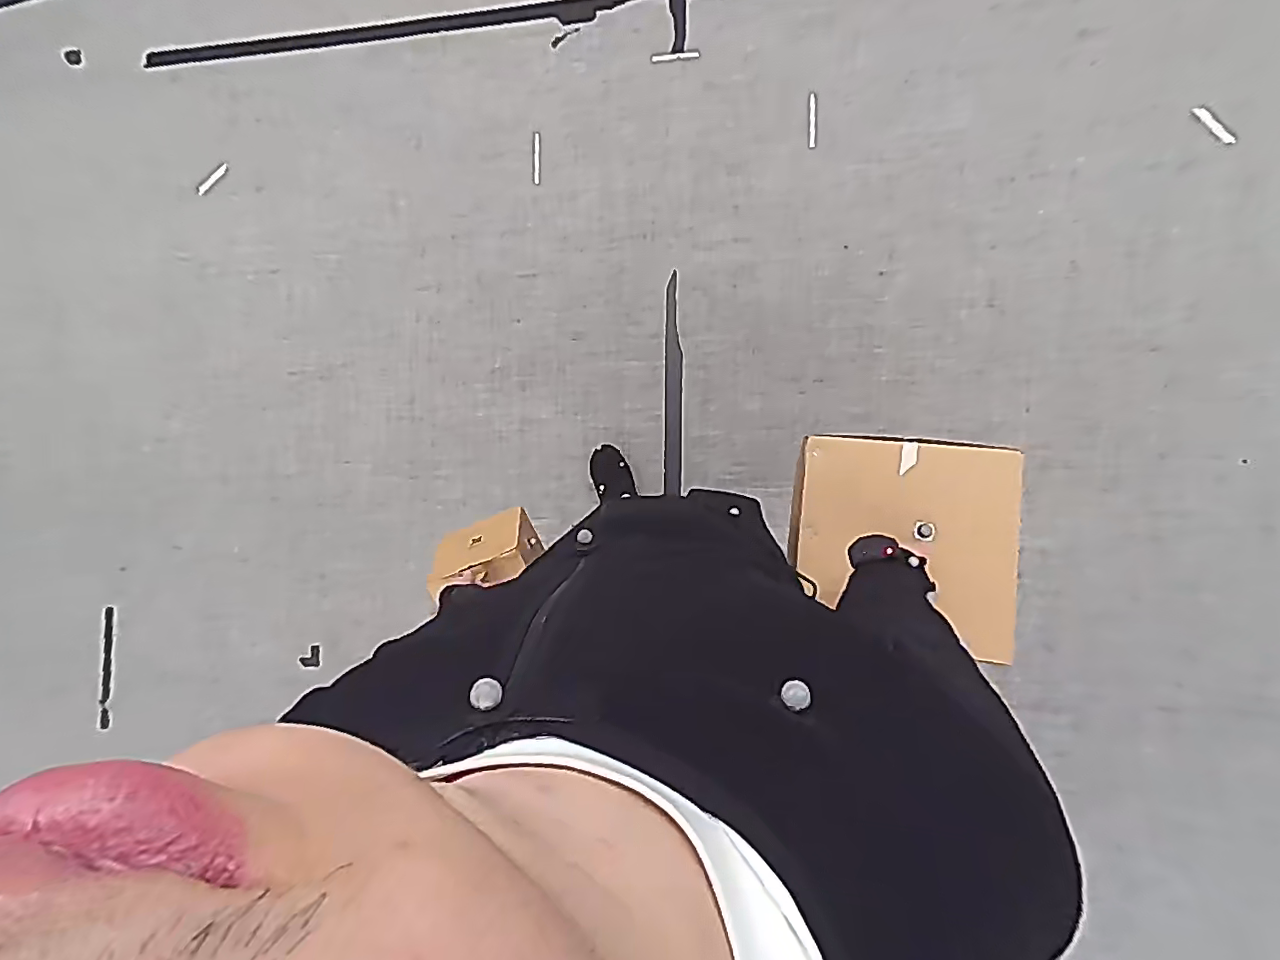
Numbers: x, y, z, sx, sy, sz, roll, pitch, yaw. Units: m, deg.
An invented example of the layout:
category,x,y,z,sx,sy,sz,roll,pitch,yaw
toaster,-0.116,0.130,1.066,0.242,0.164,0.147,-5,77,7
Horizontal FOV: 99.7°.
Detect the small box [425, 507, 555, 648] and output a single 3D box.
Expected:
category,x,y,z,sx,sy,sz,roll,pitch,yaw
small box,-0.263,0.182,0.993,0.168,0.179,0.176,-21,113,0
